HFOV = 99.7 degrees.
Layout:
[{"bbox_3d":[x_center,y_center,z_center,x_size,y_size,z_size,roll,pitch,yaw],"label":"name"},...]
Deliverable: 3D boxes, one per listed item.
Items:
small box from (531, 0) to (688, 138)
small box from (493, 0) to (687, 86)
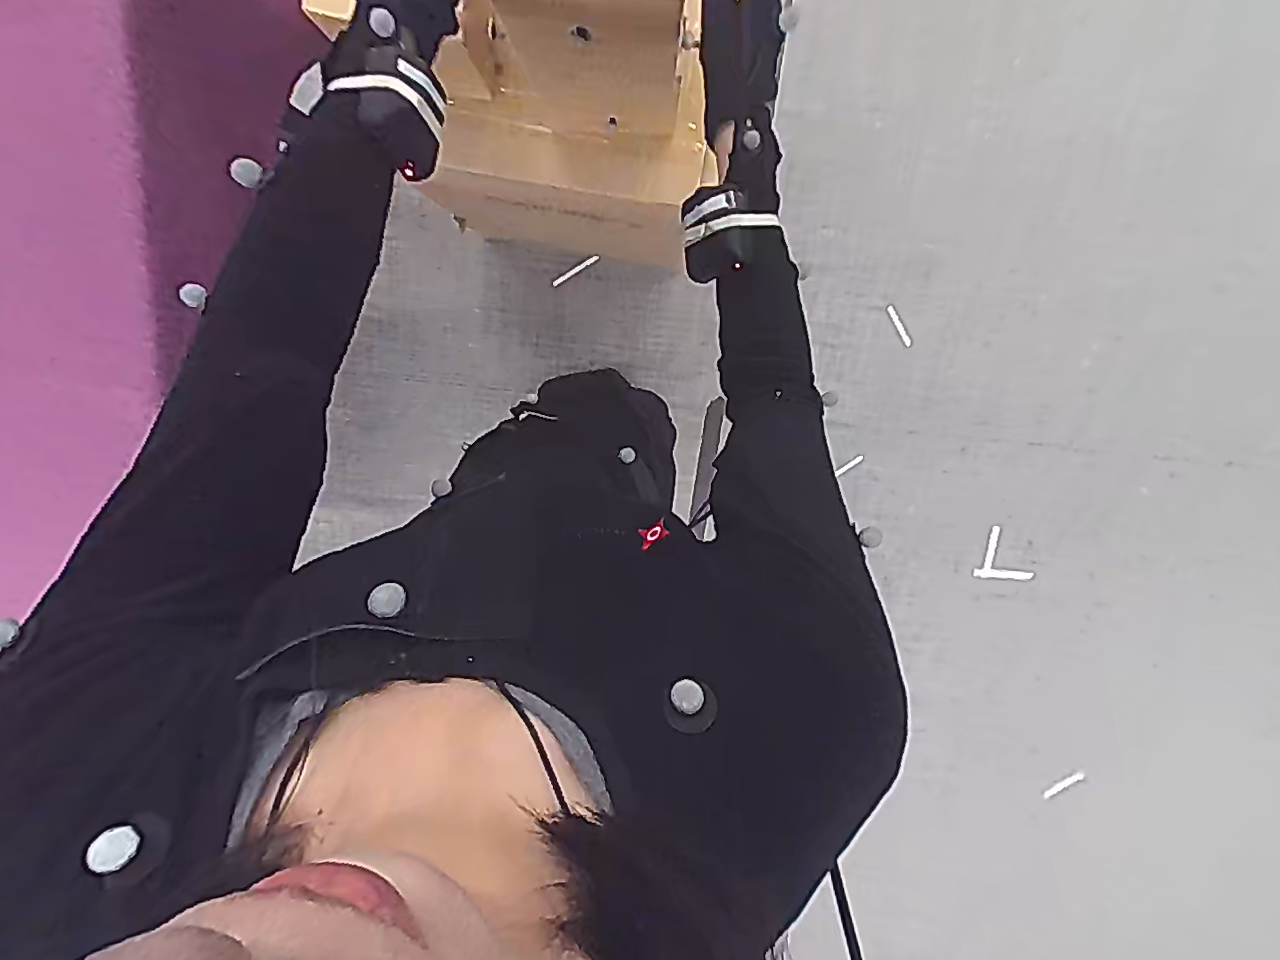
[{"bbox_3d":[-0.035,-0.548,0.671,0.179,0.176,0.168,2,103,0],"label":"small box"},{"bbox_3d":[-0.037,-0.508,0.511,0.179,0.176,0.168,7,103,0],"label":"small box"}]
